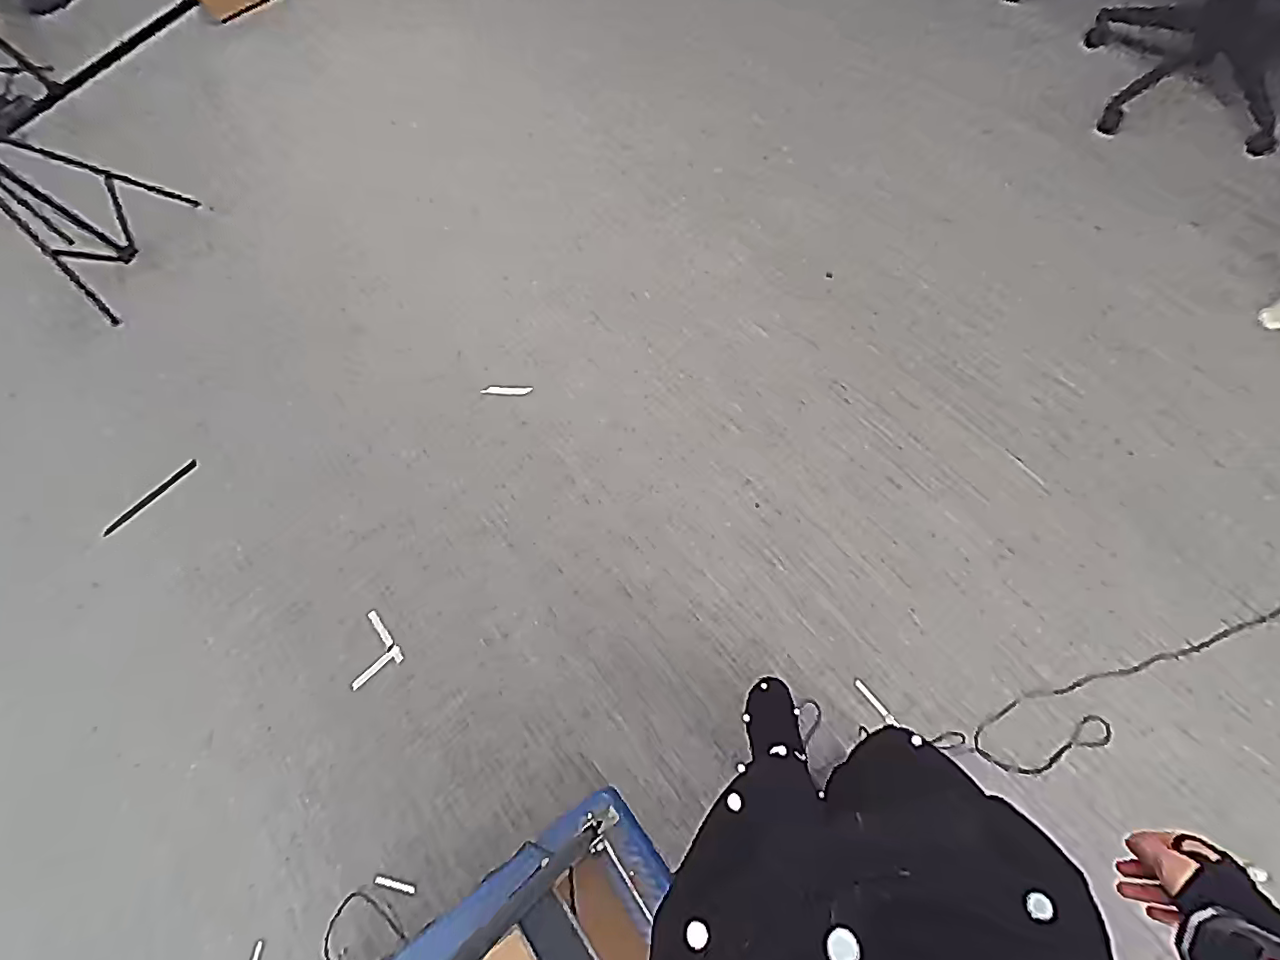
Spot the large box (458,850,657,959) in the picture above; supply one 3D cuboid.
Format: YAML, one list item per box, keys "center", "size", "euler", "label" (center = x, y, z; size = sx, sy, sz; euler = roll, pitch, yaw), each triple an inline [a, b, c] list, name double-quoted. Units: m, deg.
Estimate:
- center: [-0.127, 0.931, 0.876]
  size: [0.320, 0.320, 0.408]
  euler: [-38, 68, -3]
  label: "large box"
